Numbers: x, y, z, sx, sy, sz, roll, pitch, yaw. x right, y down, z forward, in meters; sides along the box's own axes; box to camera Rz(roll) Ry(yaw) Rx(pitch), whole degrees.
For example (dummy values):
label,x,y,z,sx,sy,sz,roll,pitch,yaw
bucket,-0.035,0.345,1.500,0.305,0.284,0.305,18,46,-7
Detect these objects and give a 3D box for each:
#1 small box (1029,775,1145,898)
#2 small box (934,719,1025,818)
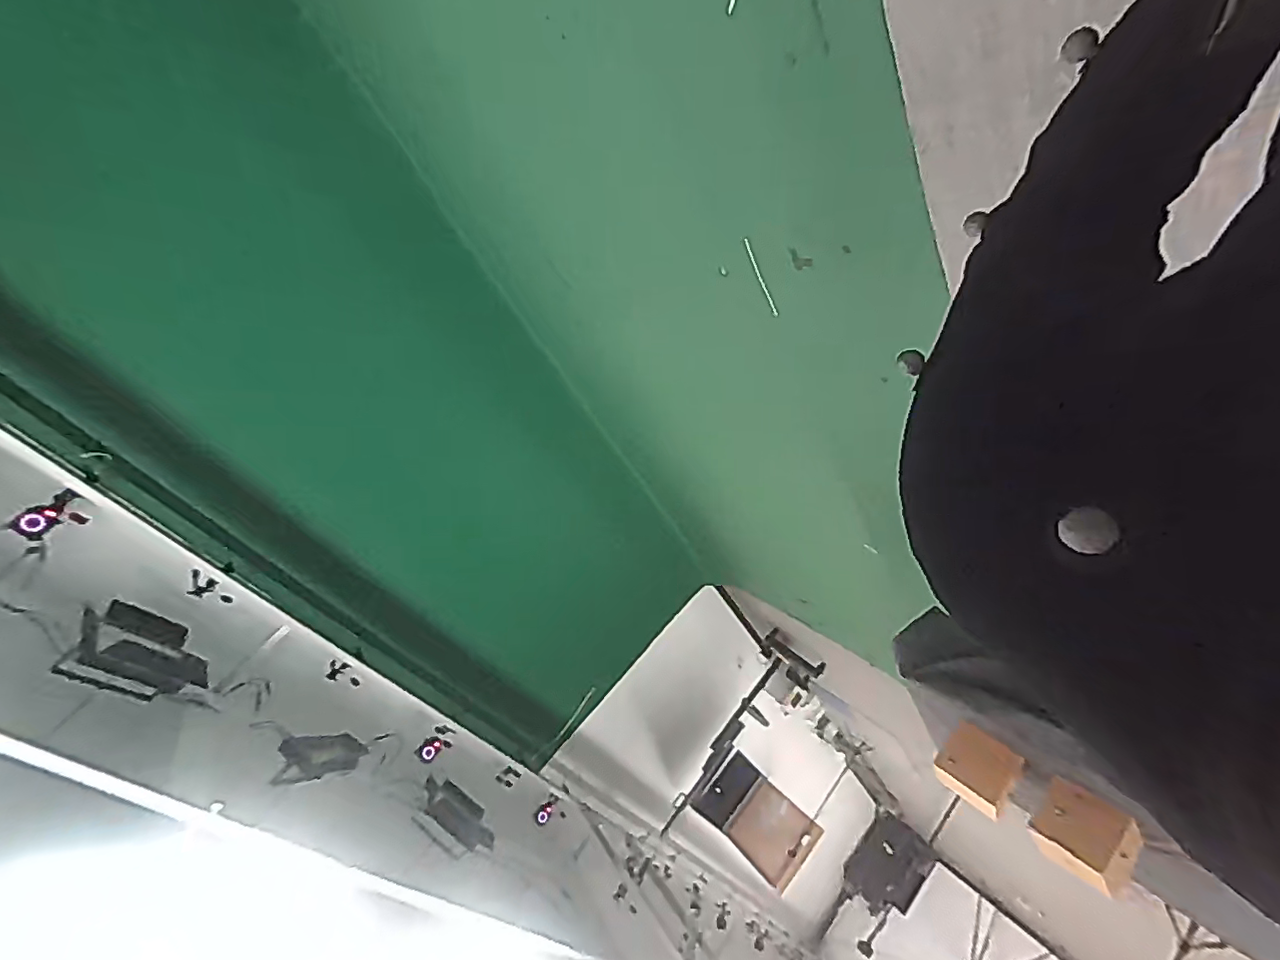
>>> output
label,x,y,z,sx,sy,sz,roll,pitch,yaw
small box,1.139,0.898,1.377,0.179,0.176,0.168,50,165,-26
small box,1.001,0.842,1.590,0.179,0.176,0.168,28,159,47
